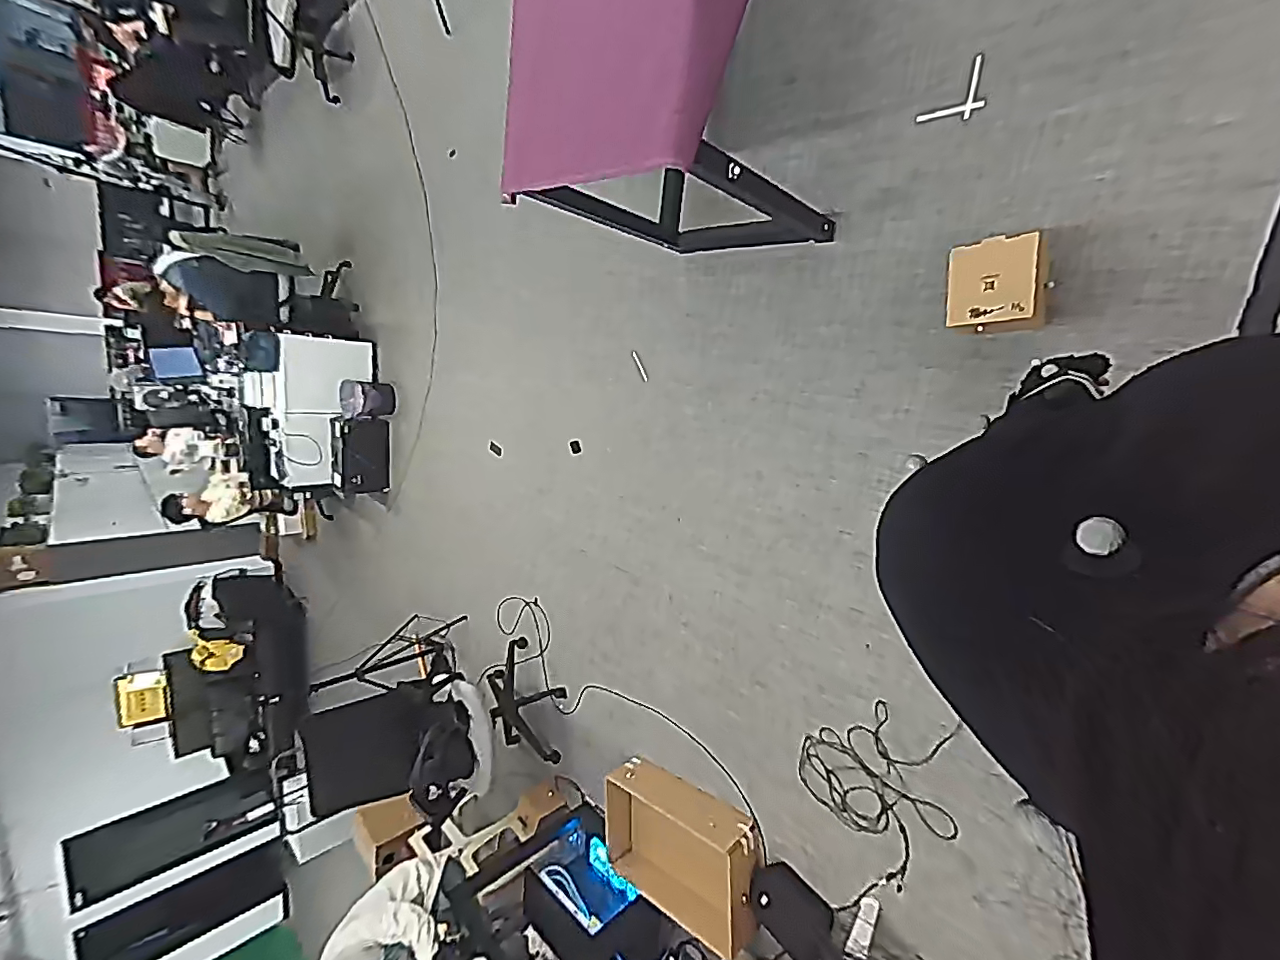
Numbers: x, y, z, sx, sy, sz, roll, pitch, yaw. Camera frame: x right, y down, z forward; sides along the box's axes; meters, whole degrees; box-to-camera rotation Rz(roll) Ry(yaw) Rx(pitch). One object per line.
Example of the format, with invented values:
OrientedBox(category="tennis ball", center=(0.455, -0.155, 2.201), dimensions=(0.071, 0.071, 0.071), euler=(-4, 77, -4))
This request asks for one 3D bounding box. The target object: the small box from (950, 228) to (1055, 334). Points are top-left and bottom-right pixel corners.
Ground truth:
OrientedBox(category="small box", center=(0.812, -0.434, 1.210), dimensions=(0.168, 0.176, 0.179), euler=(6, 97, 44))
